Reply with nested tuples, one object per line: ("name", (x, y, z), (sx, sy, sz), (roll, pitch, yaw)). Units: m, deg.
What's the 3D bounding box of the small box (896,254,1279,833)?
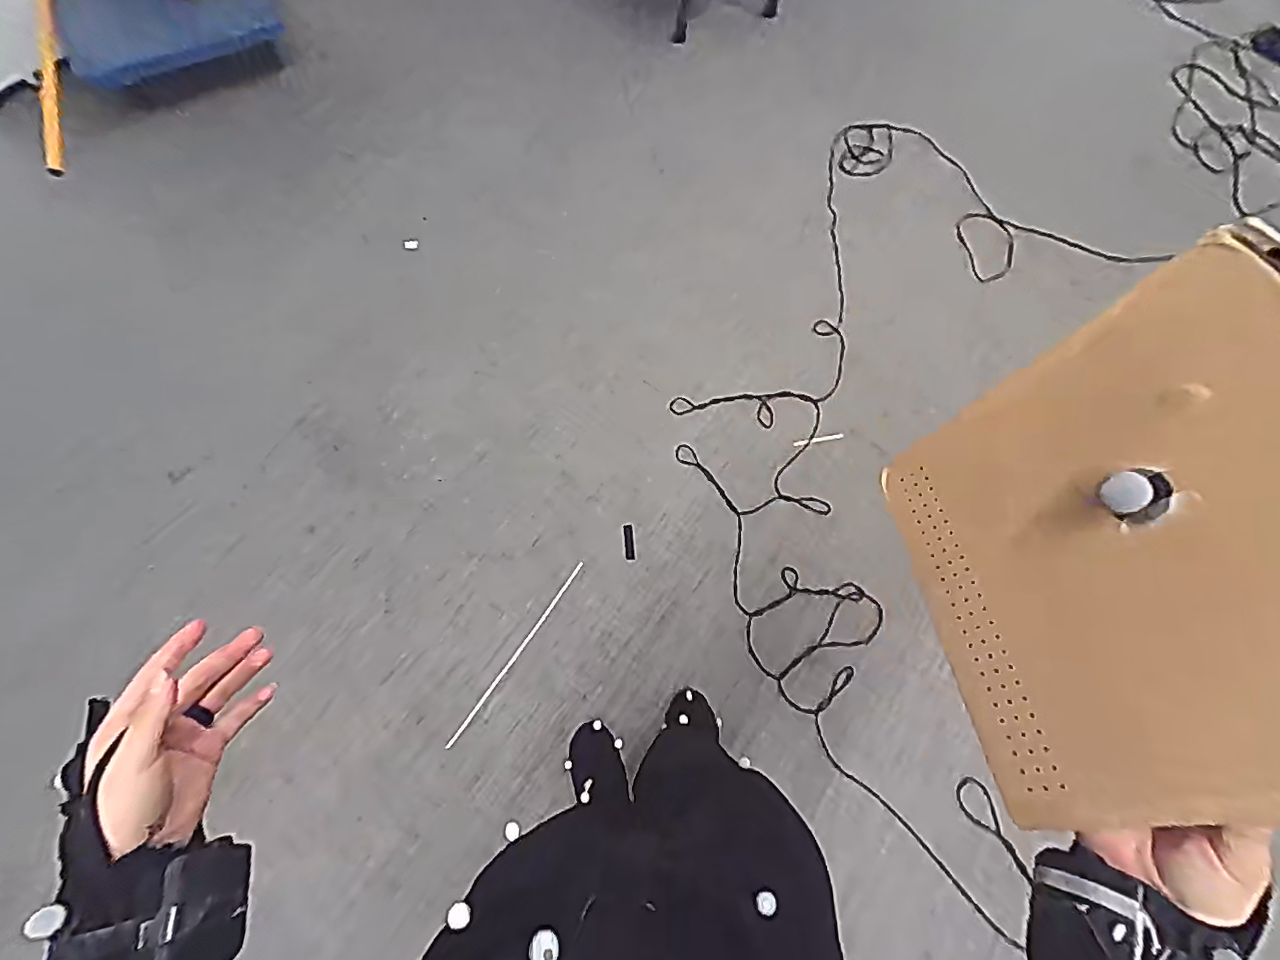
("small box", (0.255, 0.042, 0.243), (0.168, 0.176, 0.179), (8, 55, -23))
